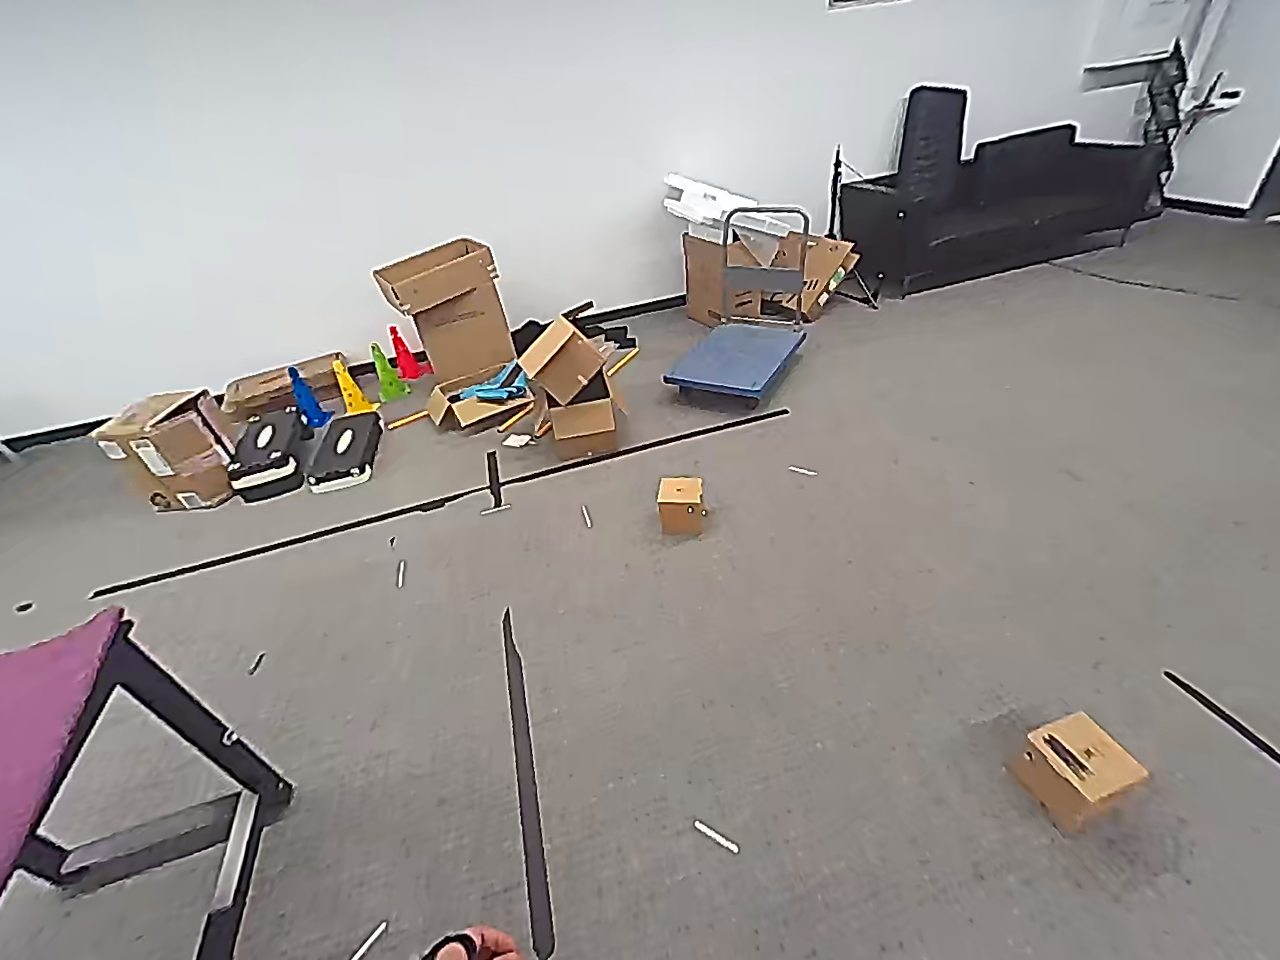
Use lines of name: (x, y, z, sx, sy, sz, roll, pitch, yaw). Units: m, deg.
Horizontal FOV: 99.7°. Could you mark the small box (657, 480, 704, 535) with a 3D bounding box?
small box: (0.173, 0.117, 2.269, 0.179, 0.176, 0.168, 0, 36, 10)
